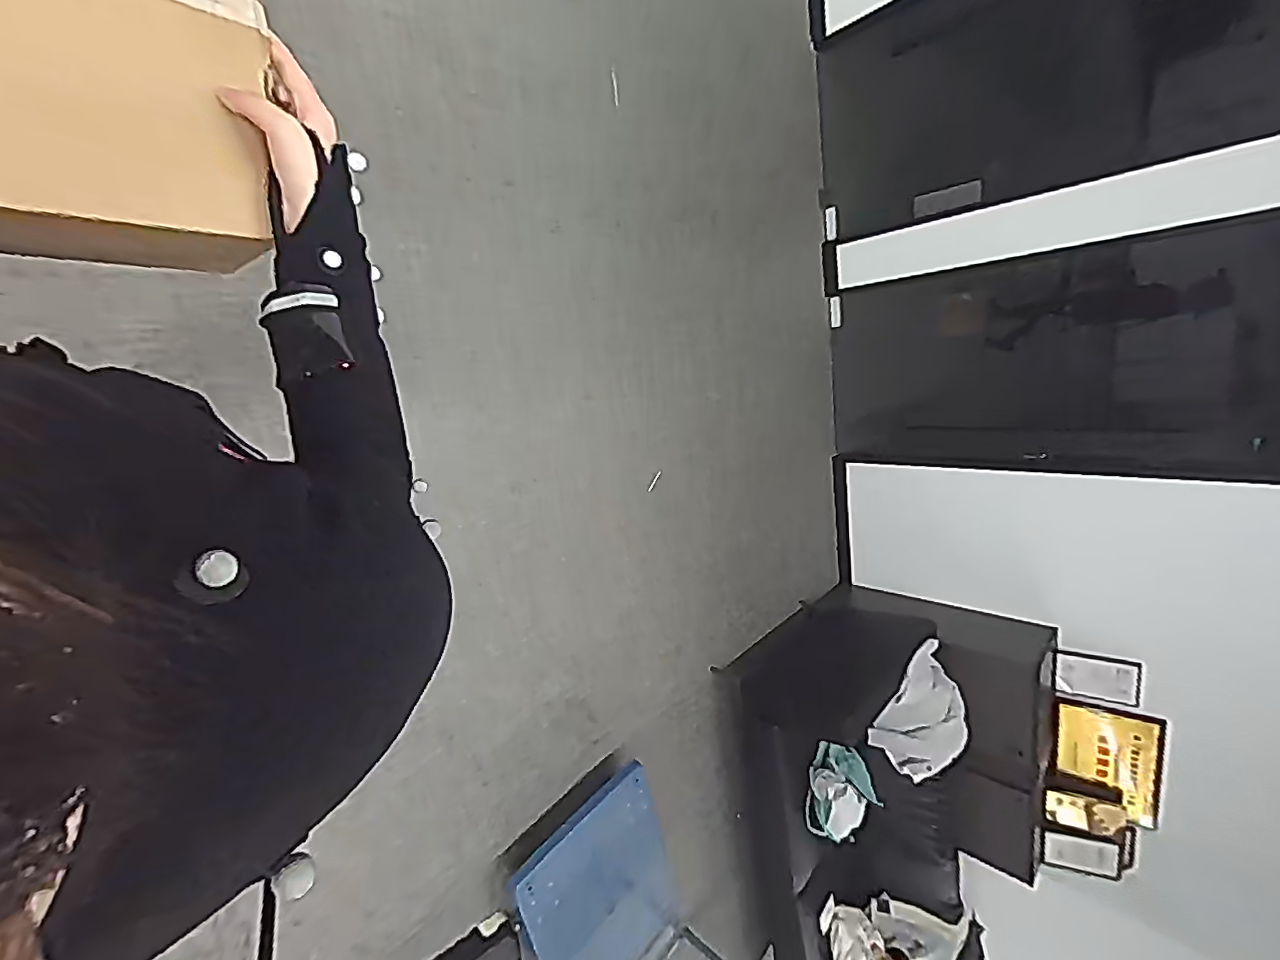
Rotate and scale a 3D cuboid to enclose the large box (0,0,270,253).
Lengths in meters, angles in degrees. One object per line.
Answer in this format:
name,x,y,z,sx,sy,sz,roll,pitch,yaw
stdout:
large box,-0.546,-0.354,0.385,0.408,0.320,0.320,-11,109,-40
